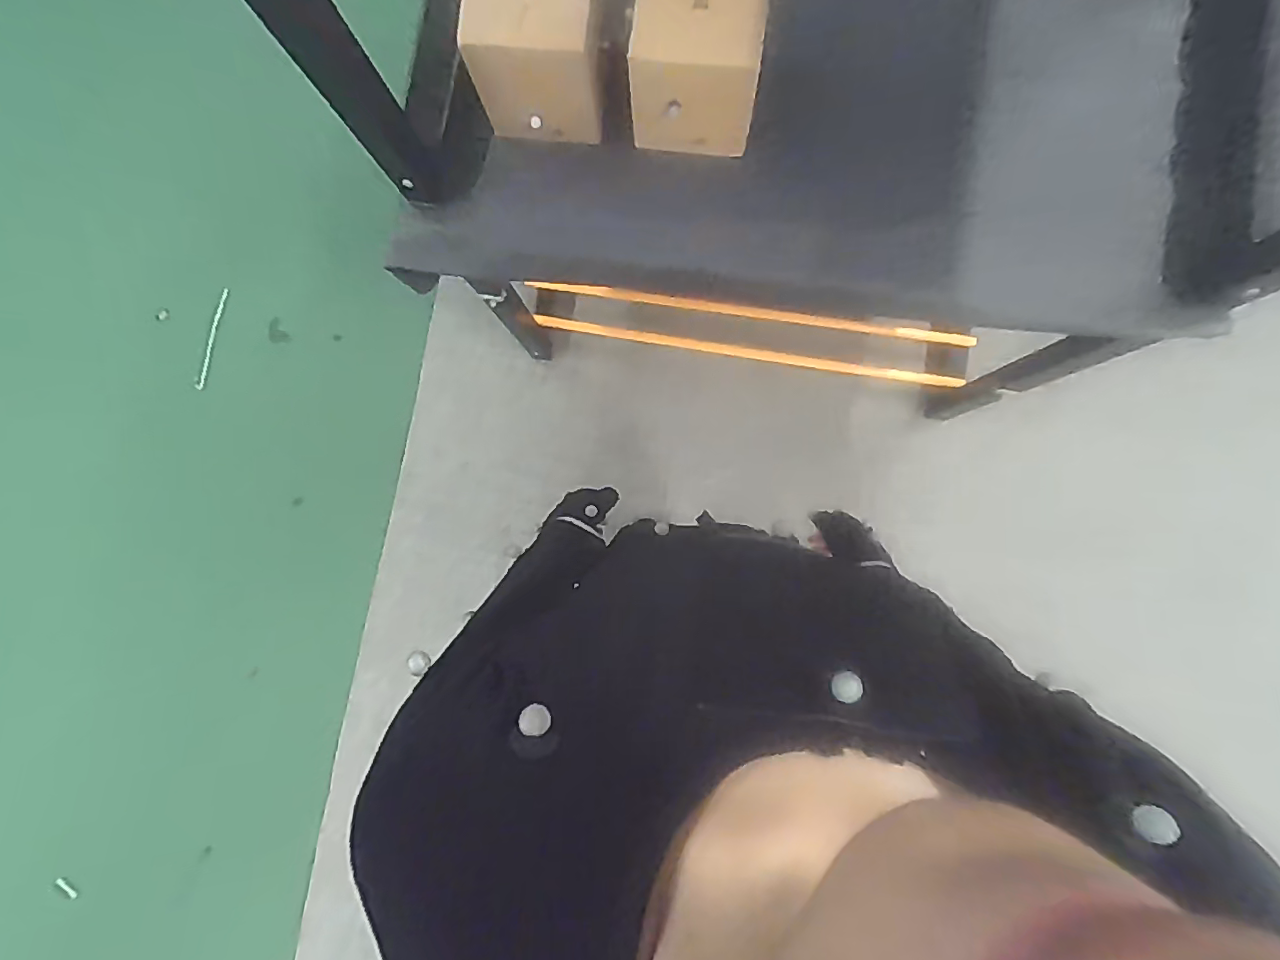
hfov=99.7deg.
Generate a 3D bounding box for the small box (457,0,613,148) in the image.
[{"bbox_3d":[-0.134,-0.610,0.759,0.168,0.176,0.179,7,86,4],"label":"small box"}]
